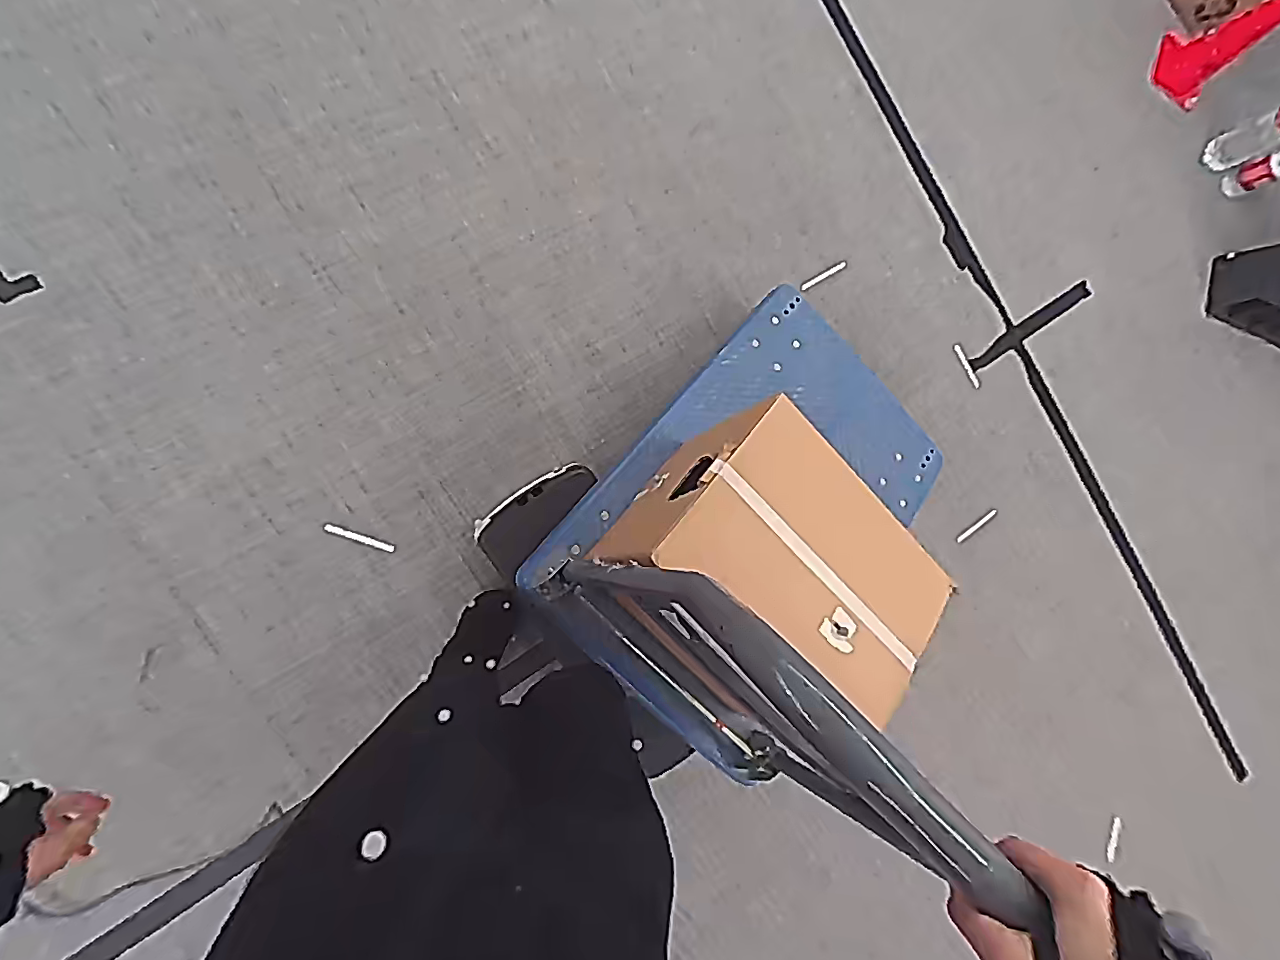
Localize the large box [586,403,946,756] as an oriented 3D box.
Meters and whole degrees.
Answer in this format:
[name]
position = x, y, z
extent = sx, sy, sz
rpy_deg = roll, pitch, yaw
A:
[large box]
position = 0.186, 0.152, 0.876
extent = 0.408, 0.320, 0.320
rpy_deg = 46, 67, -10
